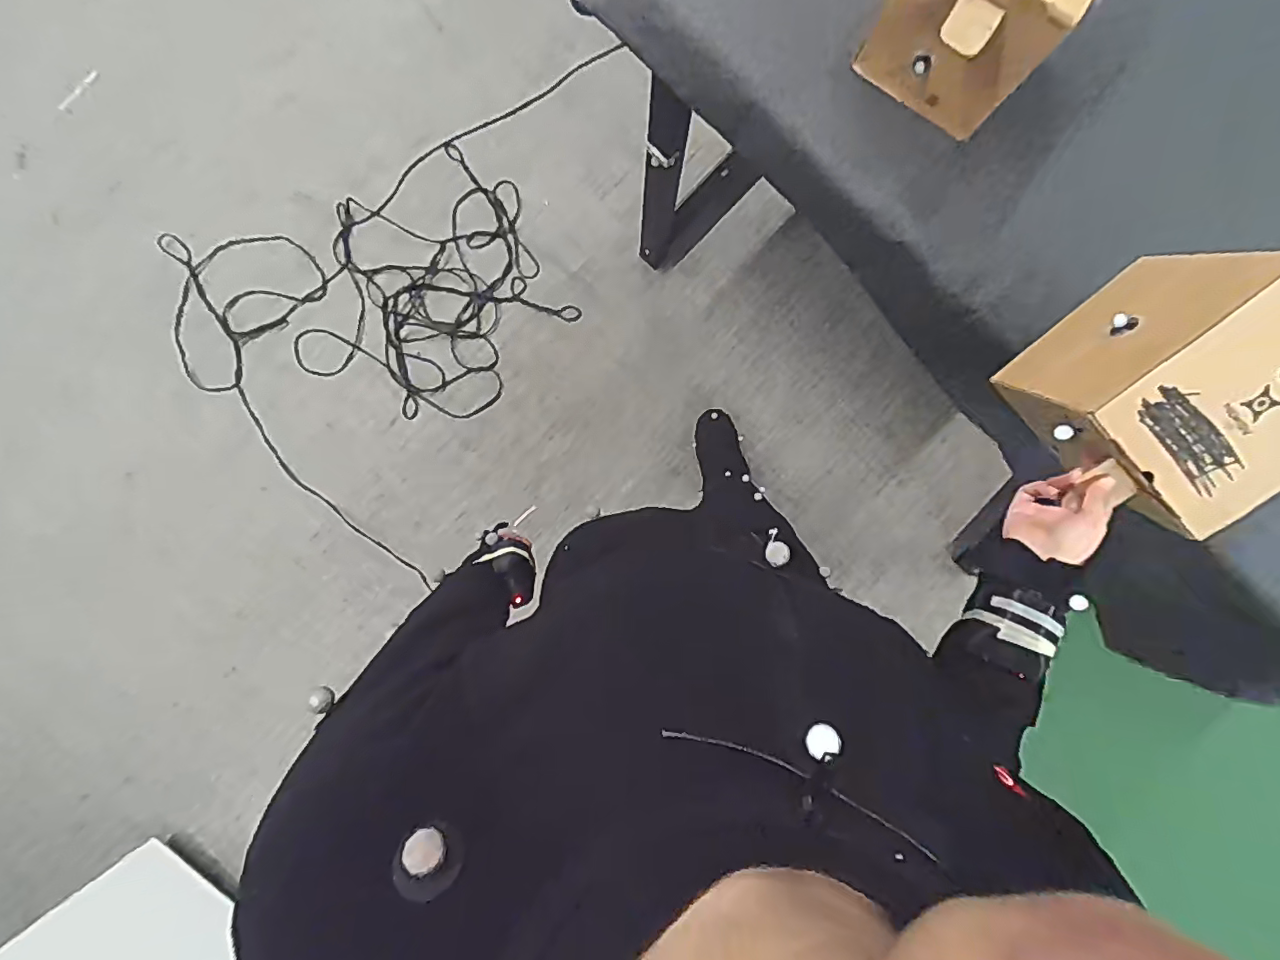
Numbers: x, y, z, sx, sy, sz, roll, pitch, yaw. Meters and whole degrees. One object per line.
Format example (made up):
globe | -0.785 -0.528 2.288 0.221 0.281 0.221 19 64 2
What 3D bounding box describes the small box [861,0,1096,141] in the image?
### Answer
small box | 0.374 -0.523 0.580 0.168 0.176 0.179 33 87 -1
